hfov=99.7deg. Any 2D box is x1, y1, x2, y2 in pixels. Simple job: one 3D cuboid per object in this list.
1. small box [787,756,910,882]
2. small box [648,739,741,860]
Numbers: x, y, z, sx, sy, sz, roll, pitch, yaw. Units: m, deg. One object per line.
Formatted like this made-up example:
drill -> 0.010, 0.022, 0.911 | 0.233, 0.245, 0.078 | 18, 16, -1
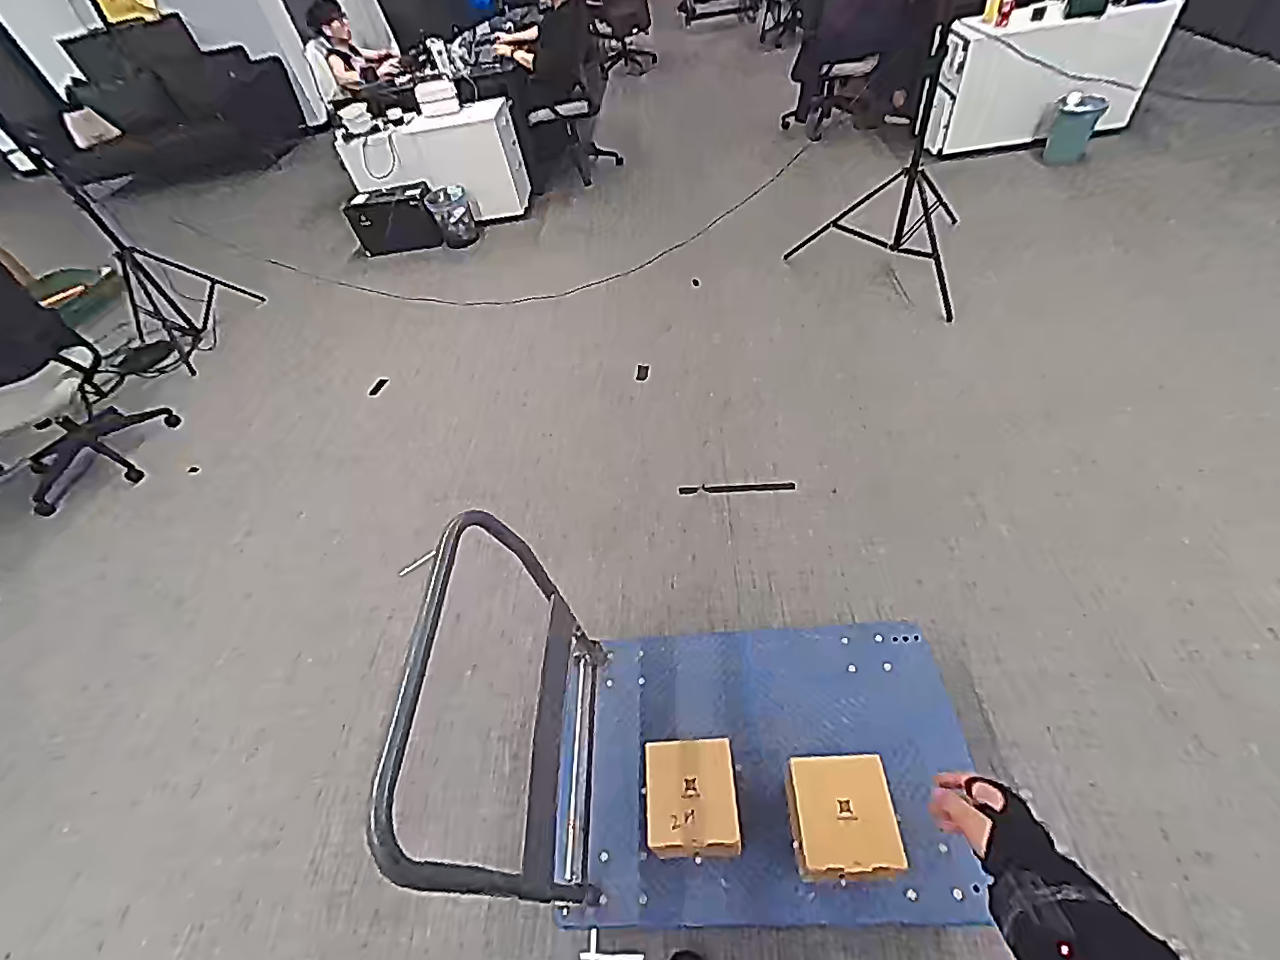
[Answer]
small box -> 0.374, 0.635, 1.009 | 0.168, 0.176, 0.179 | -6, 49, 6
small box -> 0.106, 0.630, 1.064 | 0.168, 0.176, 0.179 | -7, 49, 6
